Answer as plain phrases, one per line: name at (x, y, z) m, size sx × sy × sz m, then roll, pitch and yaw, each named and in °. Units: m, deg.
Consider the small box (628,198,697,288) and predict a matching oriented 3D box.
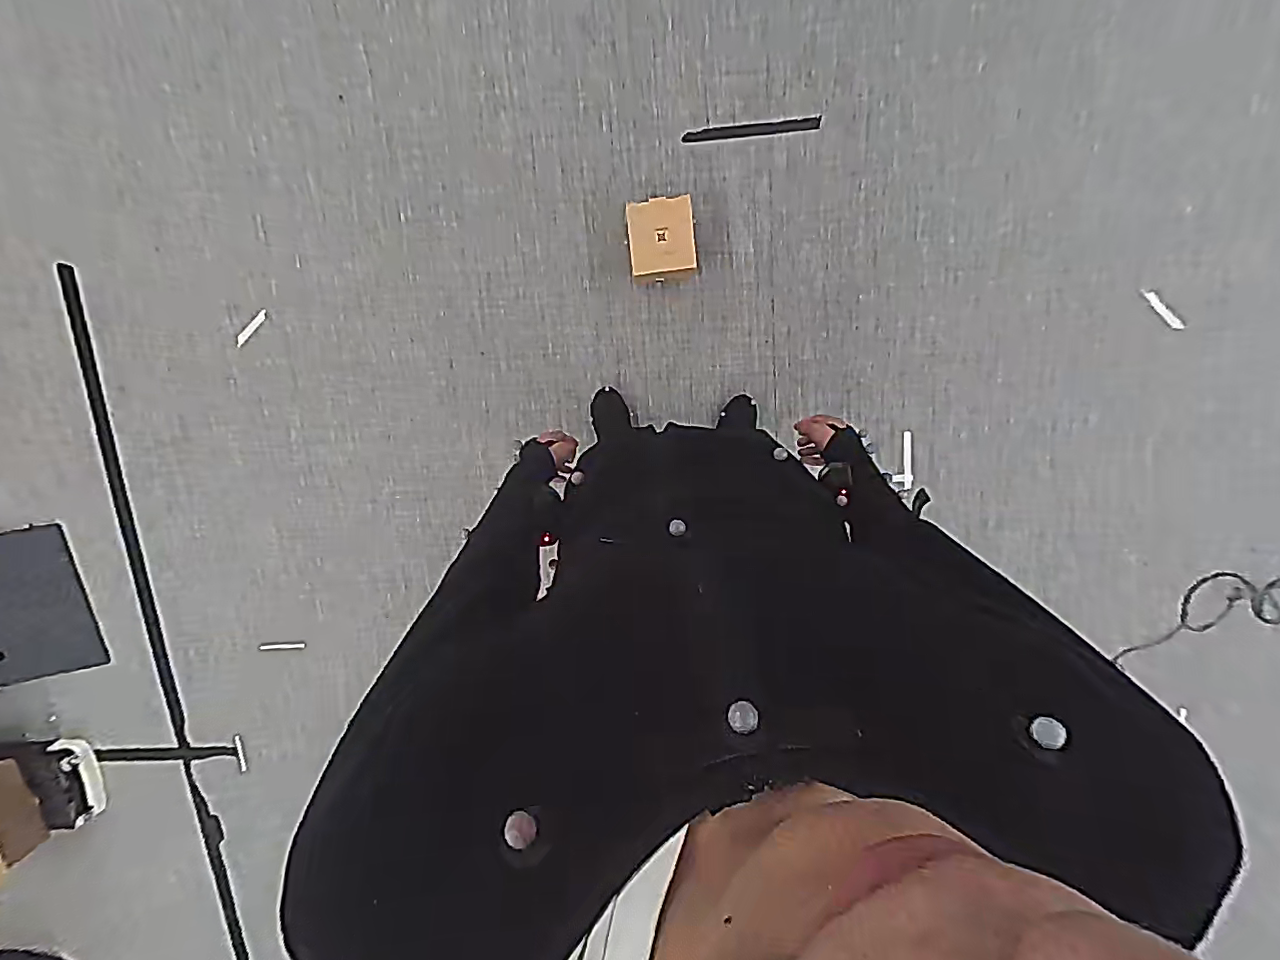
small box at (0.059, -0.625, 1.442) m, size 0.168 × 0.176 × 0.179 m, roll -6°, pitch 101°, yaw 4°
